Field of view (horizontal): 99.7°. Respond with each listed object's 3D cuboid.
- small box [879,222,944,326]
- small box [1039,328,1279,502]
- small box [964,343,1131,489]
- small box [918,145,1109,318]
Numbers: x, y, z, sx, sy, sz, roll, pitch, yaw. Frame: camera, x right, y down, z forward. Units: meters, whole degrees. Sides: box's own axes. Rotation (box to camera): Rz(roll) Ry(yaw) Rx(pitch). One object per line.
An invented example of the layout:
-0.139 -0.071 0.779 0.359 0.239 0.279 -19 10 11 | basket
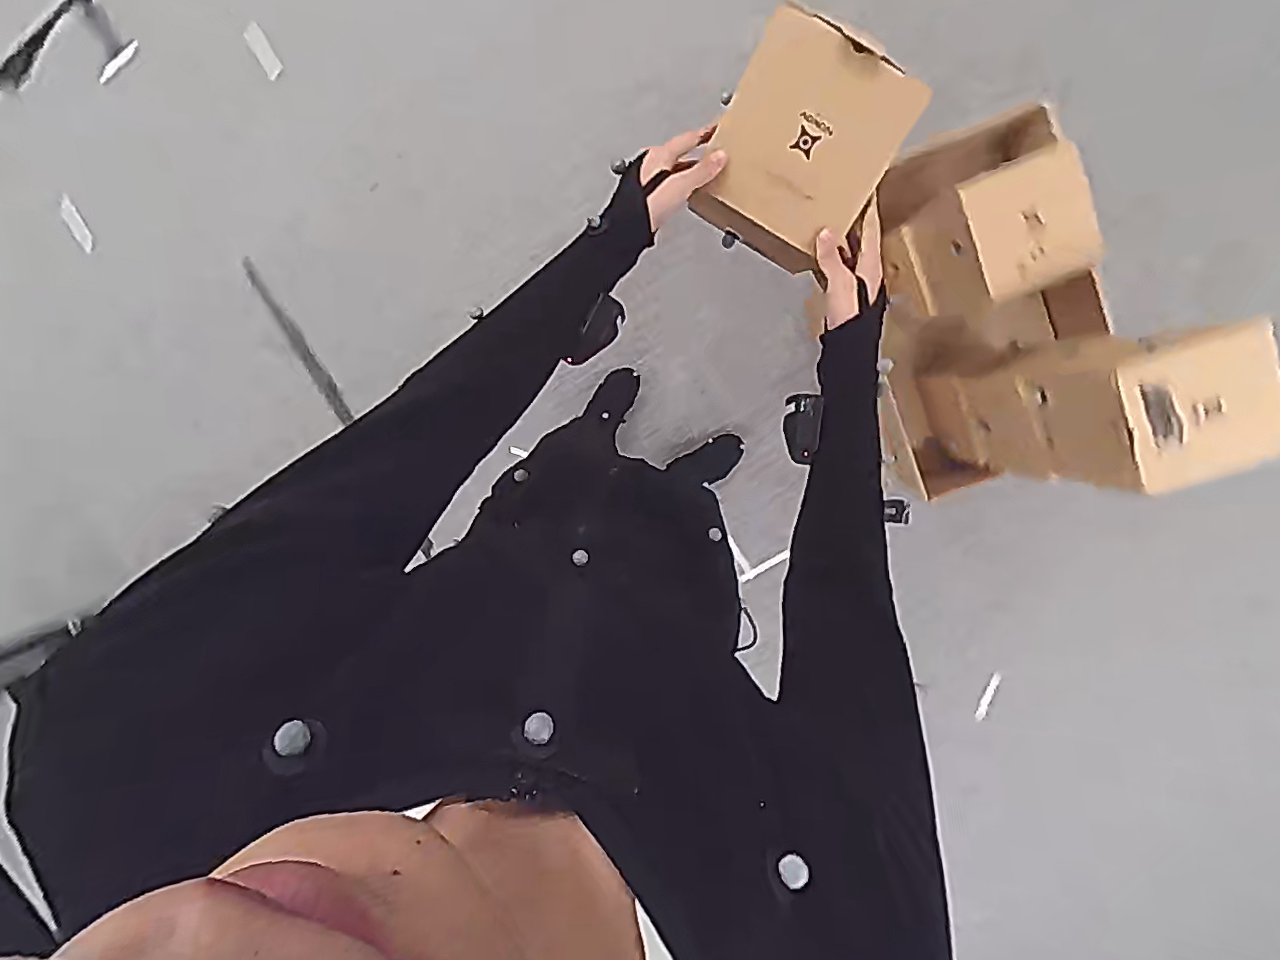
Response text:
0.568 -0.400 1.005 0.179 0.176 0.168 -21 98 7 | small box
0.669 -0.085 0.714 0.179 0.176 0.168 -18 98 7 | small box
0.668 -0.107 0.878 0.168 0.176 0.179 -22 98 8 | small box
0.565 -0.371 0.843 0.168 0.176 0.179 -20 99 7 | small box
